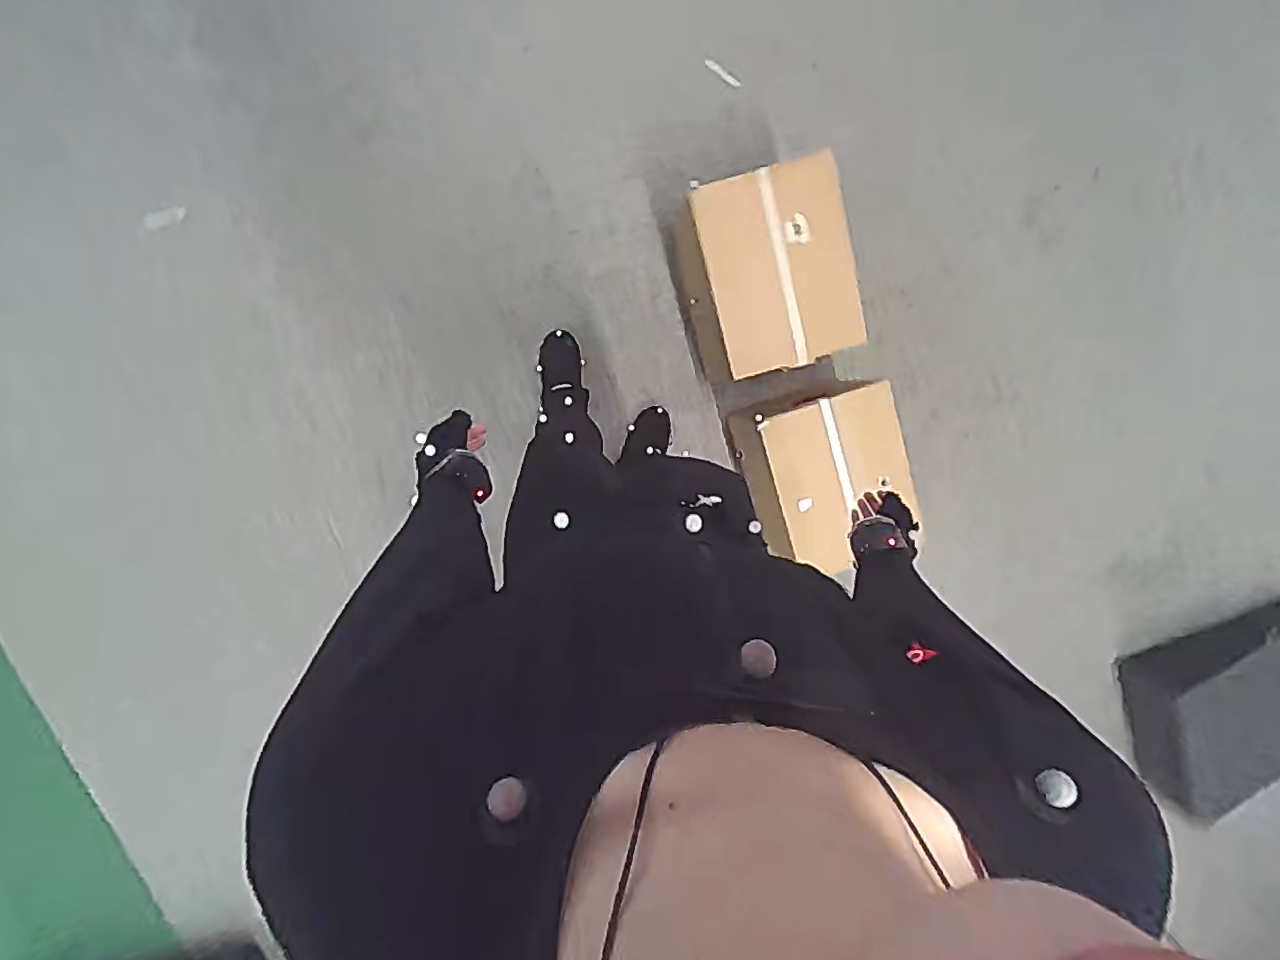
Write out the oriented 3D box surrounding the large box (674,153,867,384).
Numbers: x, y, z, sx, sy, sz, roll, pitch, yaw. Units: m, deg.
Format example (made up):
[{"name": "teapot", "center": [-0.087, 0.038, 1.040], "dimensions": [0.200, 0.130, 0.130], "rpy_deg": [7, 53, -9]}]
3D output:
[{"name": "large box", "center": [0.288, -0.464, 1.280], "dimensions": [0.320, 0.320, 0.408], "rpy_deg": [-15, 99, -1]}]
